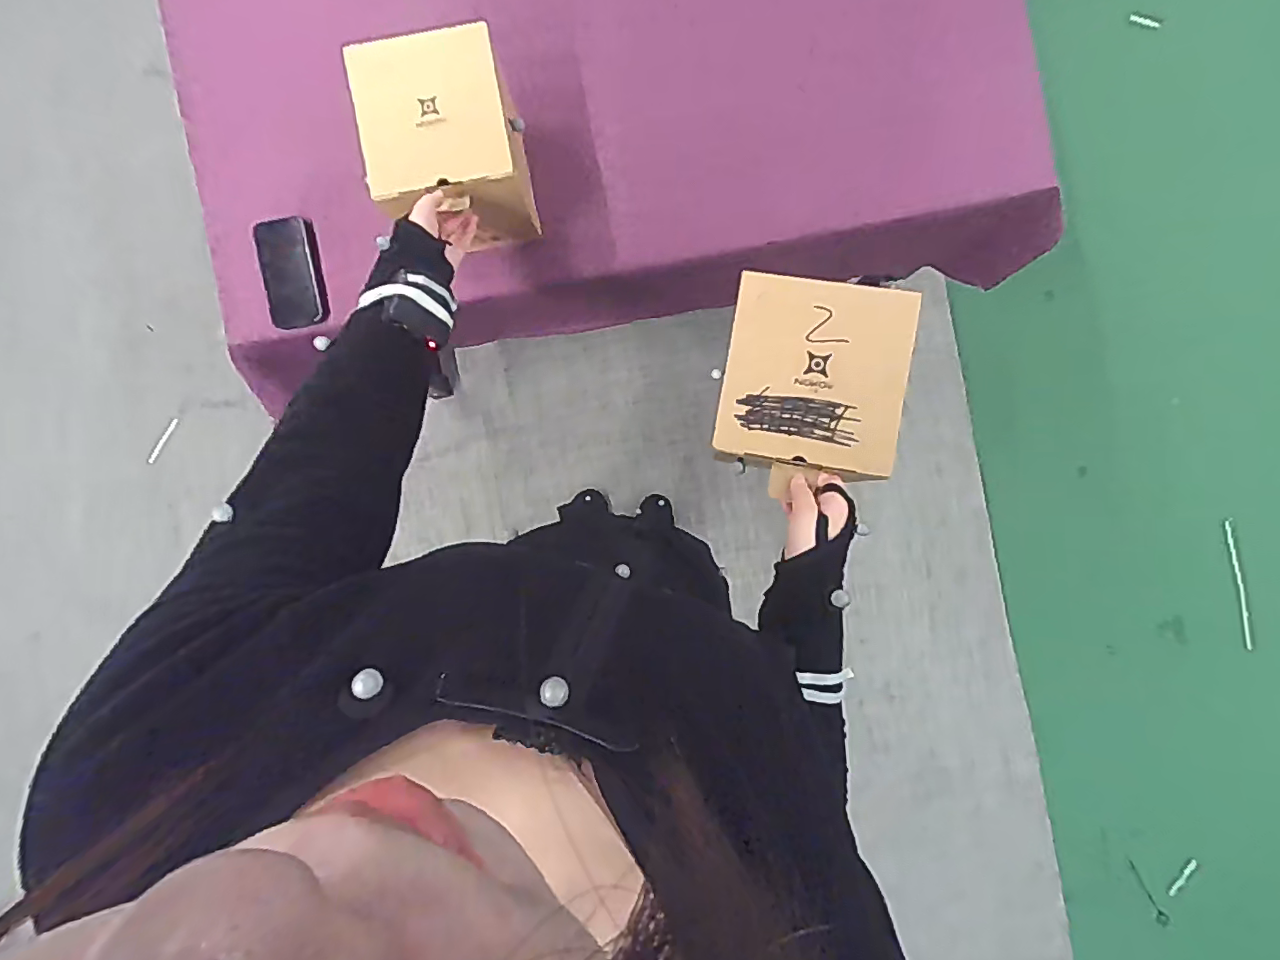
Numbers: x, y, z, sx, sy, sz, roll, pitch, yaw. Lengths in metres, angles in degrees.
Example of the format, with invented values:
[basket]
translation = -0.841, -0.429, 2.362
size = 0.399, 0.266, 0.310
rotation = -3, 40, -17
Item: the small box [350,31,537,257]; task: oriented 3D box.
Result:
[small box]
translation = -0.238, -0.416, 0.696
size = 0.168, 0.176, 0.179
rotation = -10, 91, -1
